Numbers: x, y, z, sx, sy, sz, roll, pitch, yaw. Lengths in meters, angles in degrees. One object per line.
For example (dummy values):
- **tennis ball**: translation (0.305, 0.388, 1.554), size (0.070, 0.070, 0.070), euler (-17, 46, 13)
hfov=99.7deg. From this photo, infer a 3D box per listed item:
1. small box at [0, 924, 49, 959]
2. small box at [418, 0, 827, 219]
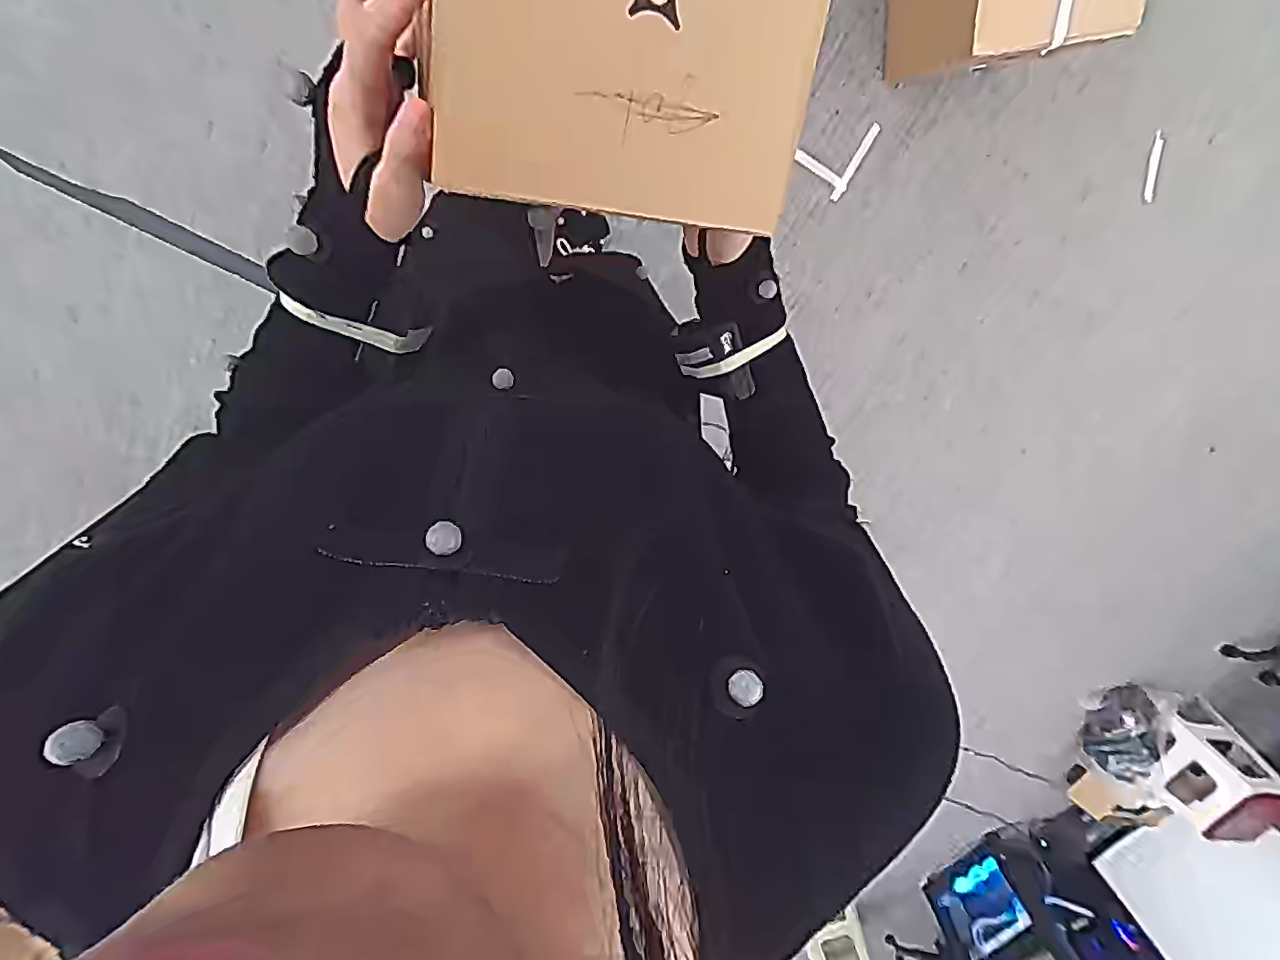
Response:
- **small box**: translation (-1.046, 0.784, 0.796), size (0.179, 0.176, 0.168), euler (20, 115, -17)
- **small box**: translation (-0.022, -0.245, 0.277), size (0.168, 0.176, 0.179), euler (-4, 120, -23)
